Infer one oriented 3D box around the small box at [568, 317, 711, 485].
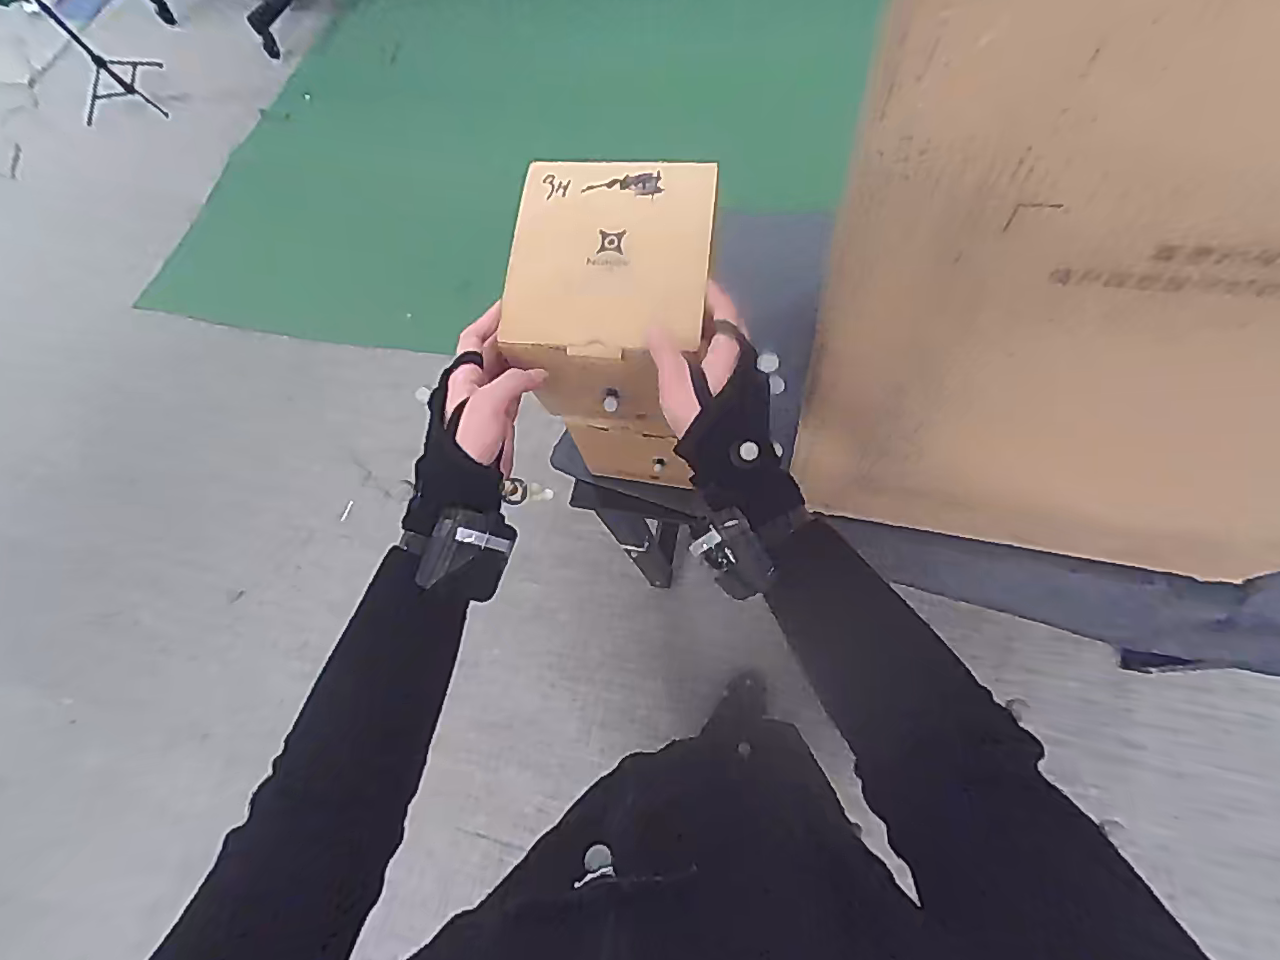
[{"bbox_3d":[0.010,-0.108,0.787,0.168,0.176,0.179,8,67,10],"label":"small box"}]
